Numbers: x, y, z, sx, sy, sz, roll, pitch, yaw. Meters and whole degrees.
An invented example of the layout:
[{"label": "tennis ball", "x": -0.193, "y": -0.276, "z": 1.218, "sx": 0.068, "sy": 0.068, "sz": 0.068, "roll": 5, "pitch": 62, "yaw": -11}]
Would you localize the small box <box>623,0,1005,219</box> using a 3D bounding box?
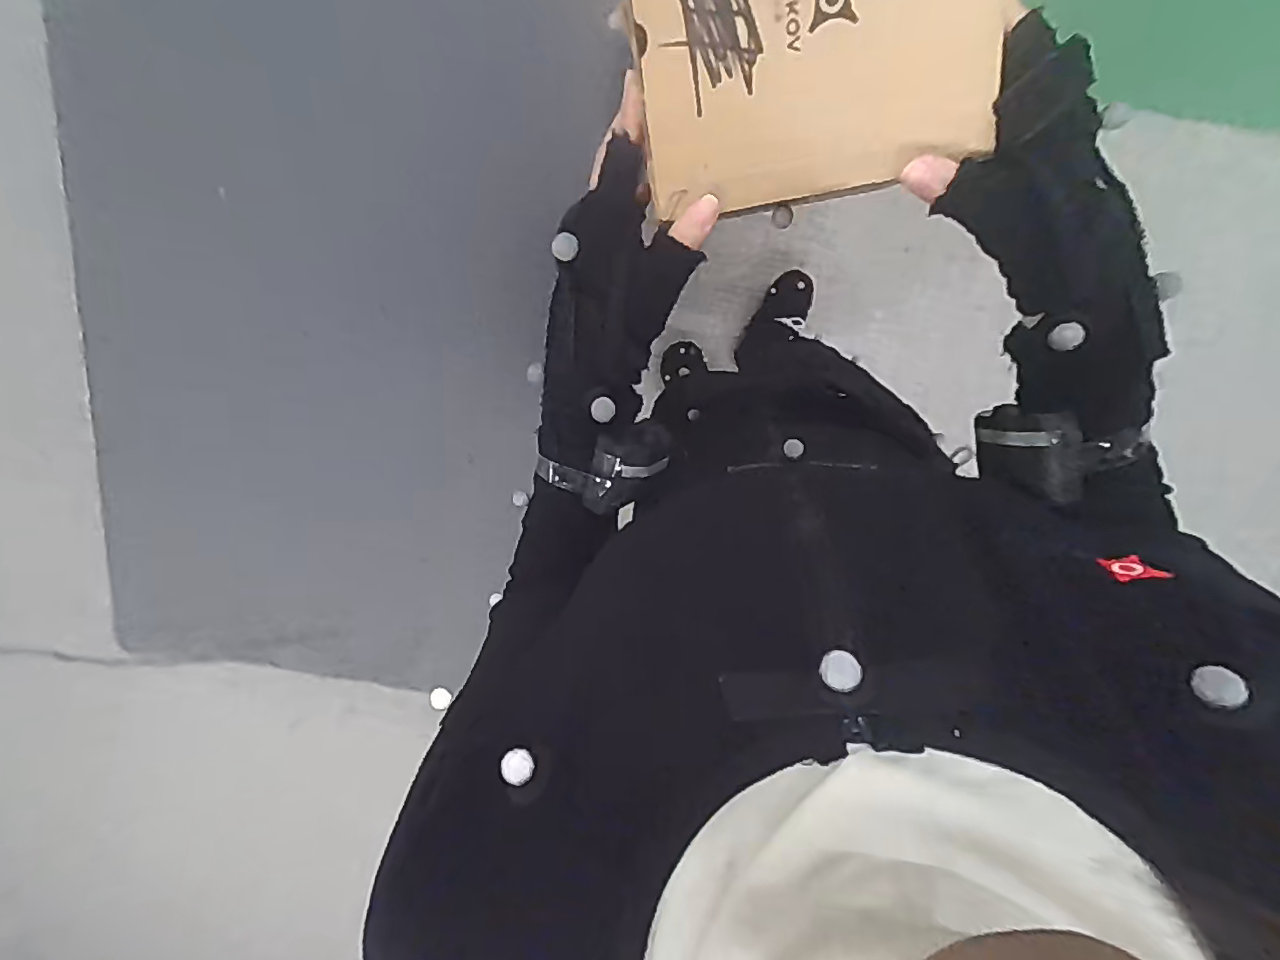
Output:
[{"label": "small box", "x": 0.084, "y": -0.259, "z": 0.323, "sx": 0.179, "sy": 0.176, "sz": 0.168, "roll": -6, "pitch": 114, "yaw": 6}]
